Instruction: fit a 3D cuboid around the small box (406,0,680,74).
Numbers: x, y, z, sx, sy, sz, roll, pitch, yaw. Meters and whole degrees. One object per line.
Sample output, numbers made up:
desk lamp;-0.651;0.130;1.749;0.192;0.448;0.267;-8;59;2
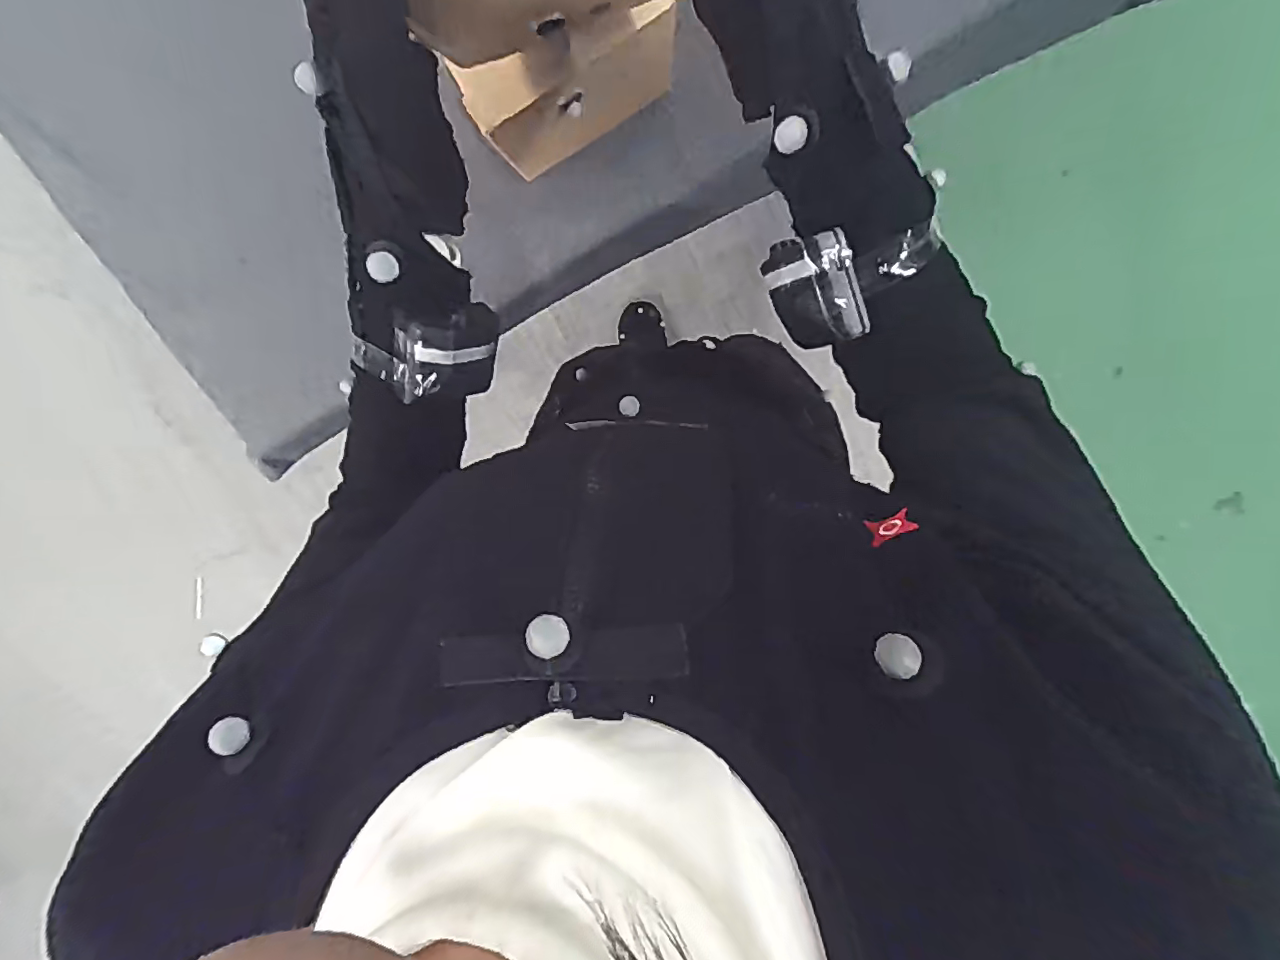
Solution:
small box;-0.067;-0.349;0.273;0.168;0.176;0.179;-14;115;8

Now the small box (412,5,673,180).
small box;-0.083;-0.406;0.485;0.179;0.176;0.168;-28;104;9
